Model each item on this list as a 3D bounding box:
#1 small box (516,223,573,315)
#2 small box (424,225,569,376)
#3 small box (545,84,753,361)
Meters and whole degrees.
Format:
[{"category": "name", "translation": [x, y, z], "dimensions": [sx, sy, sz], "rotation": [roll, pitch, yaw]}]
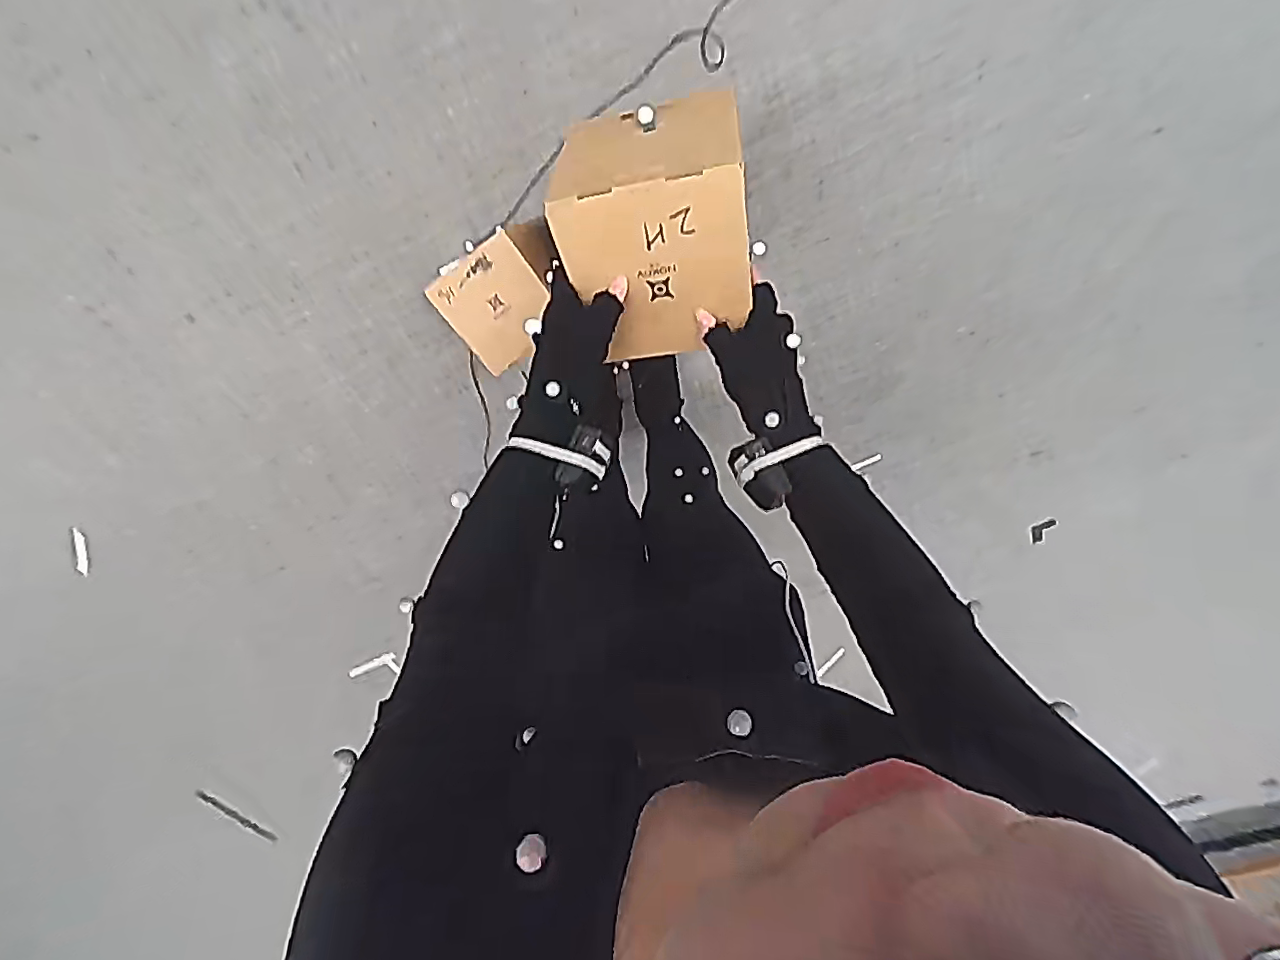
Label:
[{"category": "small box", "translation": [-0.246, -0.395, 1.091], "dimensions": [0.168, 0.176, 0.179], "rotation": [-28, 117, 10]}, {"category": "small box", "translation": [-0.236, -0.318, 0.946], "dimensions": [0.168, 0.176, 0.179], "rotation": [-31, 118, 12]}, {"category": "small box", "translation": [0.024, -0.246, 0.535], "dimensions": [0.168, 0.176, 0.179], "rotation": [-4, 144, 13]}]
